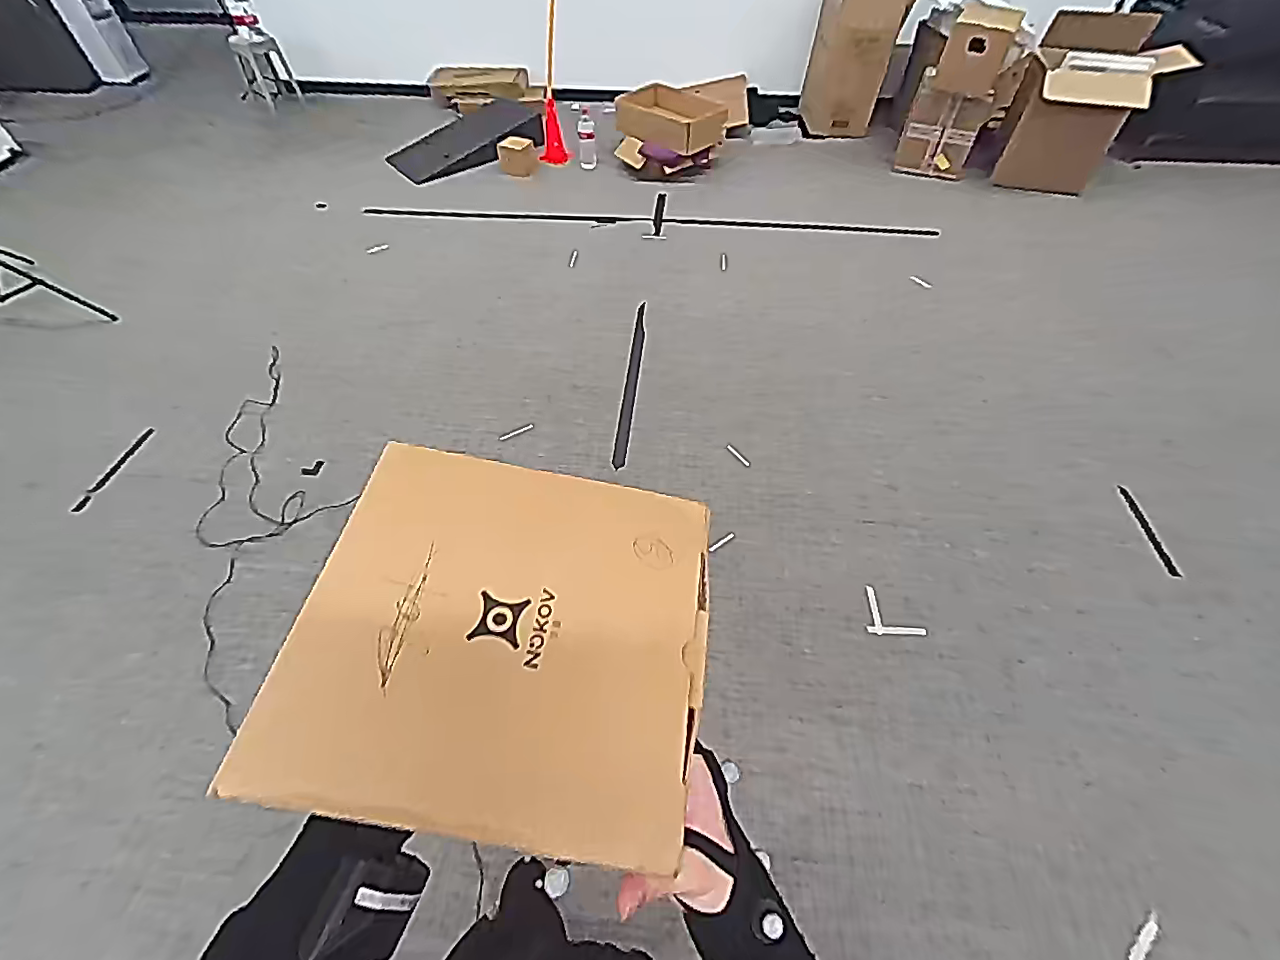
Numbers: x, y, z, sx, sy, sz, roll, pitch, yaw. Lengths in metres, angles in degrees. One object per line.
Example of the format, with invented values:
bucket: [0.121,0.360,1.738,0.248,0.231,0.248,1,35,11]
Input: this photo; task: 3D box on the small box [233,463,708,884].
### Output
small box: [-0.069,0.116,0.317,0.179,0.176,0.168,10,56,-1]
